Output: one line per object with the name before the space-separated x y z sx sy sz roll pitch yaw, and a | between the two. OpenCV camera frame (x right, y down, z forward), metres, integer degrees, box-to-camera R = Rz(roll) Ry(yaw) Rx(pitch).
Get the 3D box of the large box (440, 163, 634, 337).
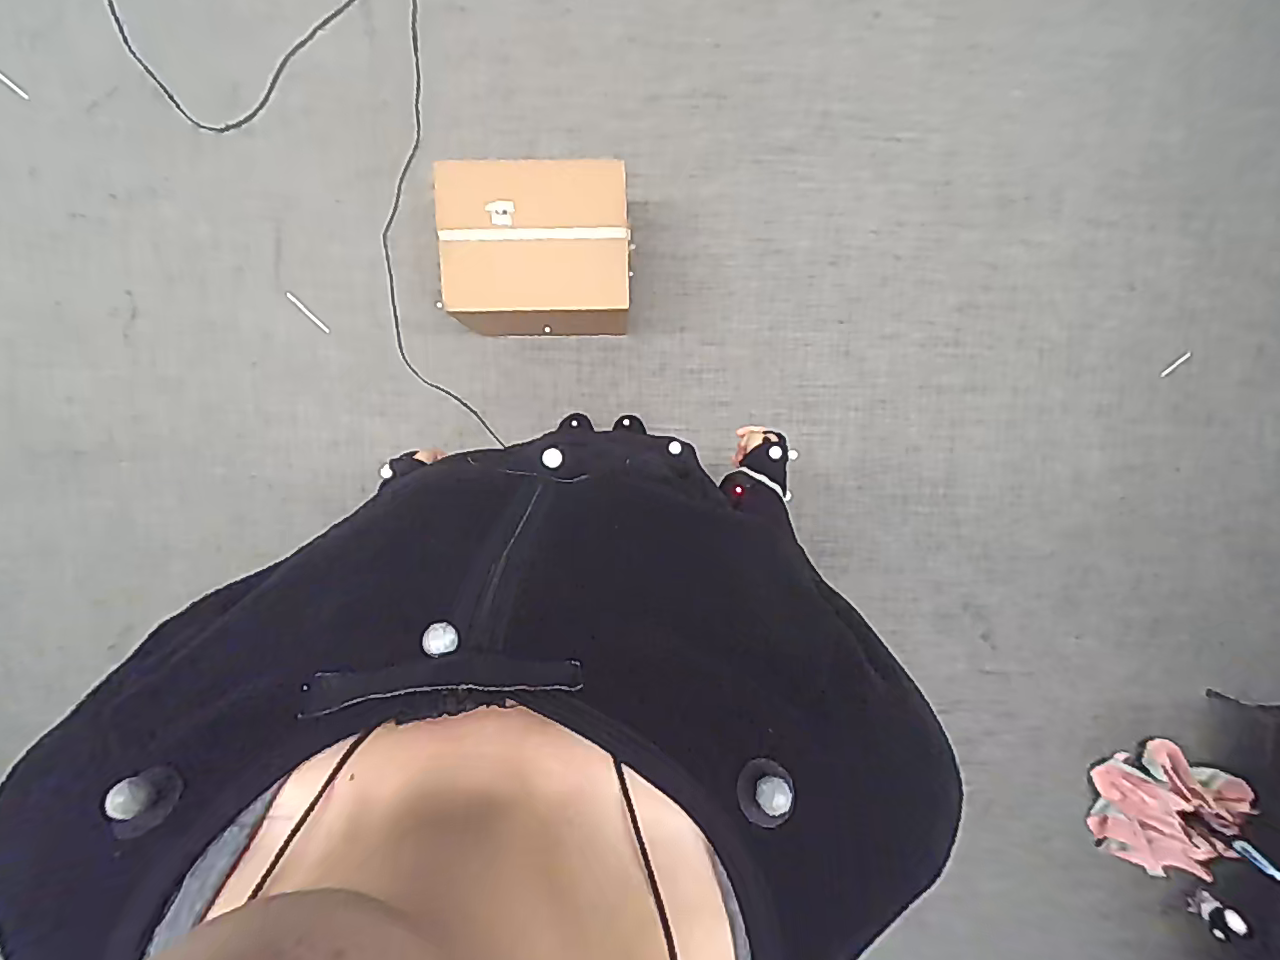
large box | -0.222 -0.530 1.309 0.408 0.320 0.320 -2 94 -1
